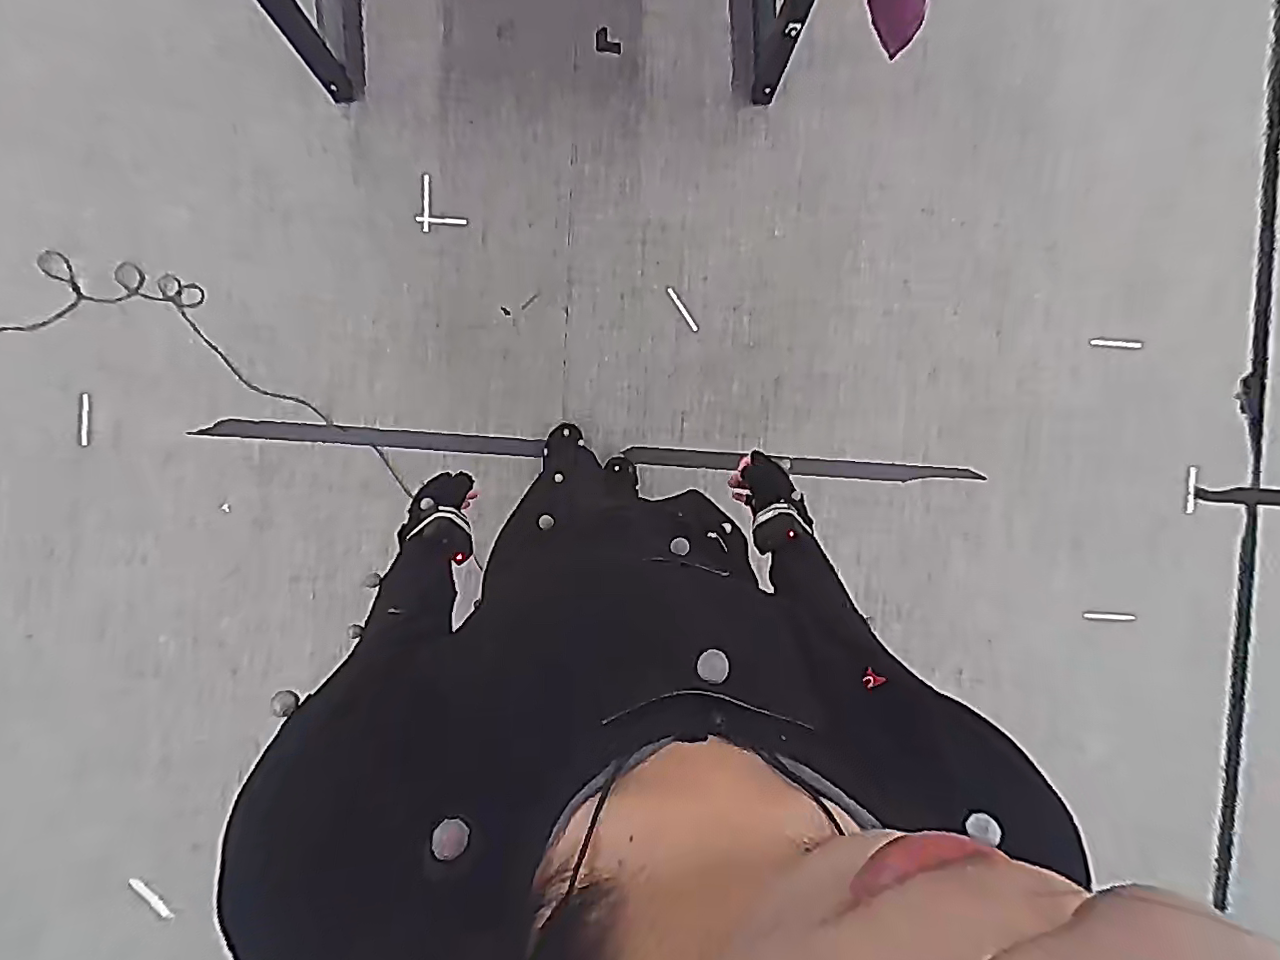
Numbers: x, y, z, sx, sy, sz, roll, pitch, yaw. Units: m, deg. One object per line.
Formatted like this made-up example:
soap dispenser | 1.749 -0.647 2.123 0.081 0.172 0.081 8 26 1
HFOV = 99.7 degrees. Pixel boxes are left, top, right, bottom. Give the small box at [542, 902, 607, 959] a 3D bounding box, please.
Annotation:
small box | -0.174 1.291 1.458 0.168 0.176 0.179 1 90 -3
